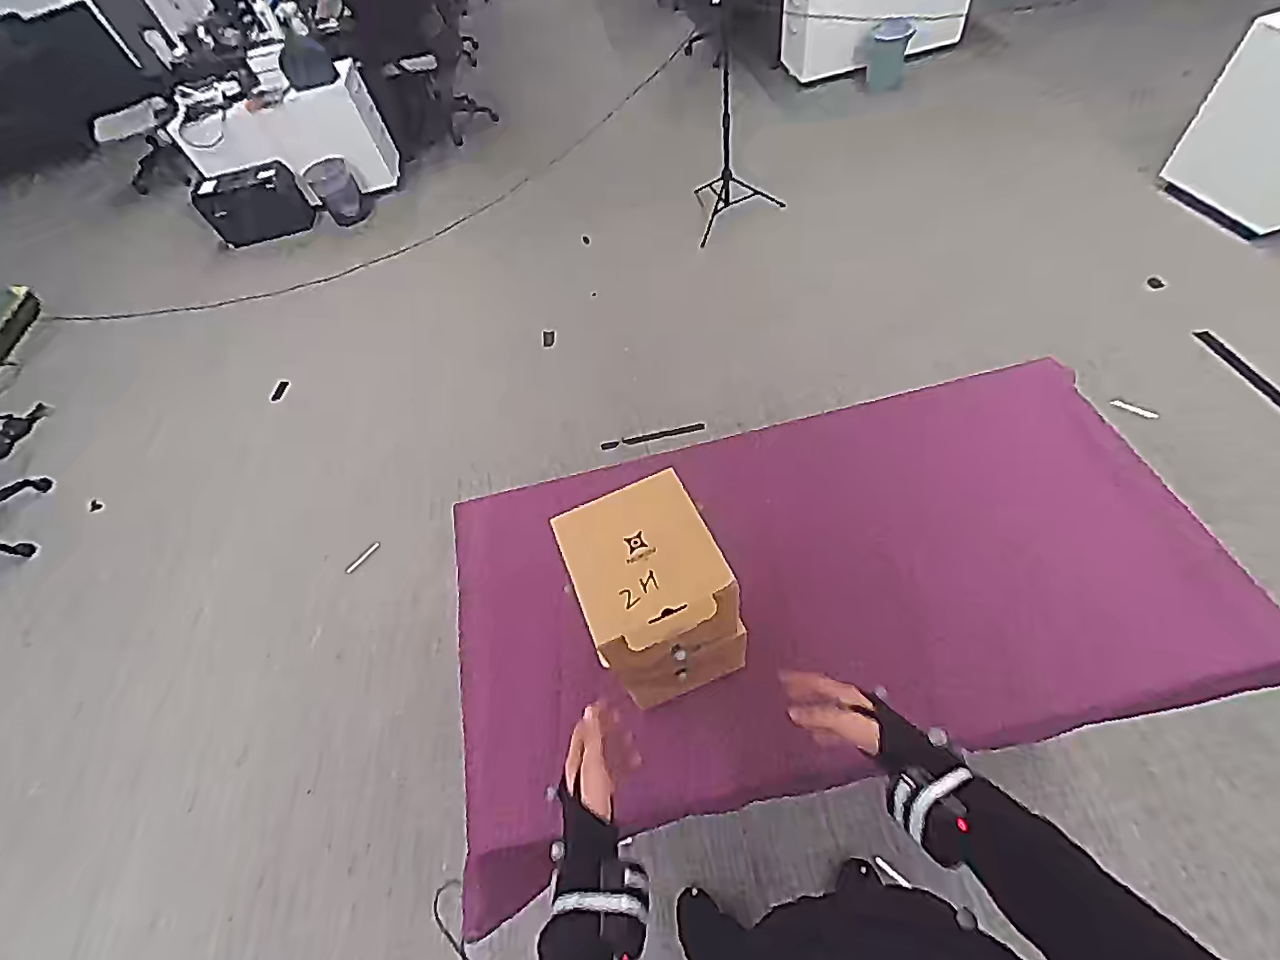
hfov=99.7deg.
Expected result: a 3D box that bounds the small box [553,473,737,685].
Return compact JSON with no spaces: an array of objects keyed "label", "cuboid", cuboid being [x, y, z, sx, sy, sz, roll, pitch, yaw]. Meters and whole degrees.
[{"label":"small box","cuboid":[0.009,0.128,0.681,0.168,0.176,0.179,-23,55,-5]}]

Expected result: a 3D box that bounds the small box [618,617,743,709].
[{"label":"small box","cuboid":[0.043,0.222,0.813,0.179,0.176,0.168,-22,56,-6]}]
